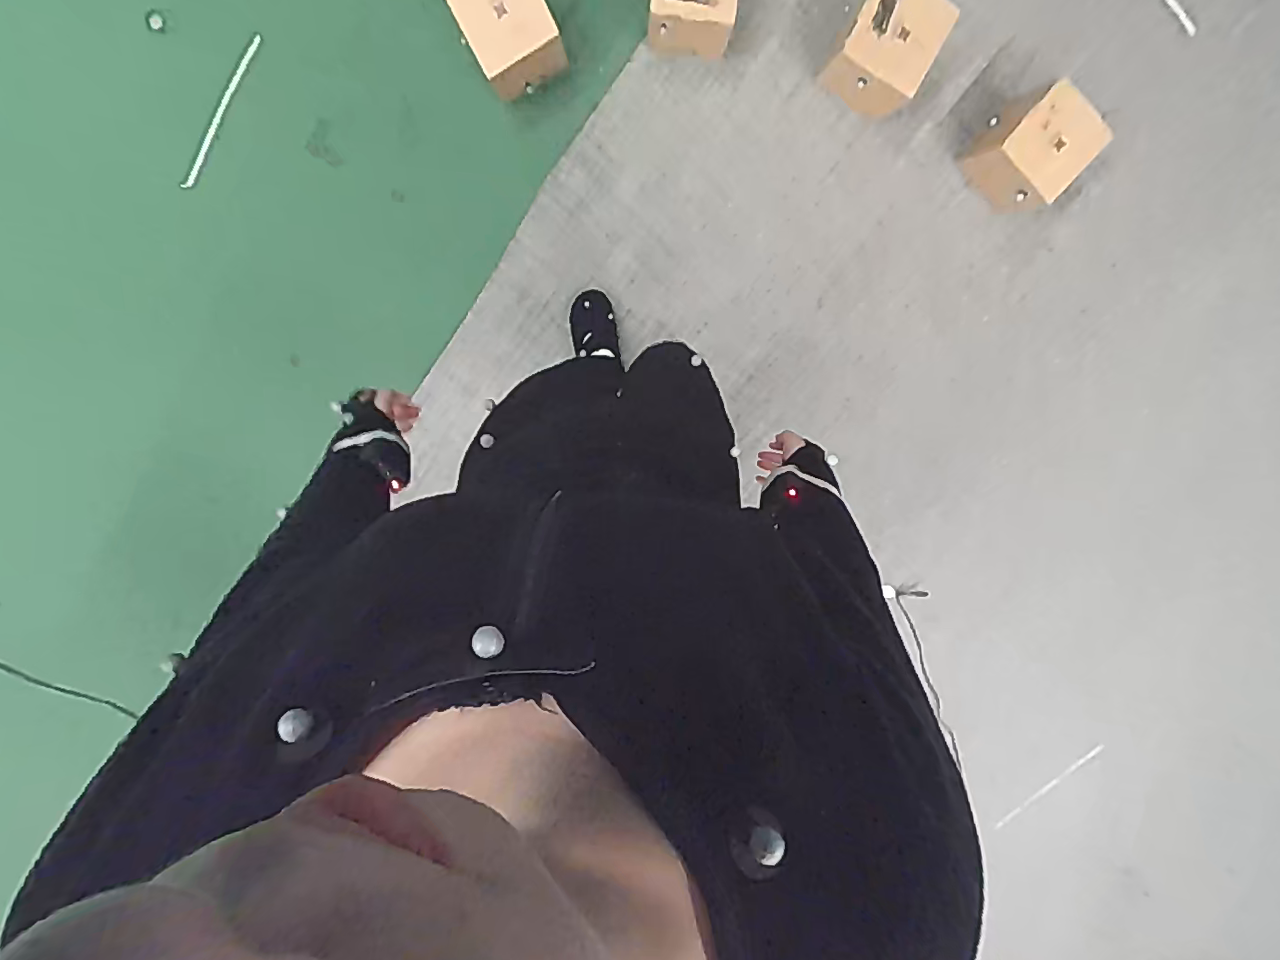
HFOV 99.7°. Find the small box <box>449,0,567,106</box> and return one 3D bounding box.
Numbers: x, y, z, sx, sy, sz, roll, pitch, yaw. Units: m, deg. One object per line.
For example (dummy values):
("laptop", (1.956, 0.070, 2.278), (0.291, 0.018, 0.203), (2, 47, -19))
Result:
("small box", (-0.265, -0.915, 1.102), (0.168, 0.176, 0.179), (-26, 108, 8))

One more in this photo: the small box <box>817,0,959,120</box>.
("small box", (0.501, -0.891, 1.125), (0.179, 0.176, 0.168), (25, 107, -10))

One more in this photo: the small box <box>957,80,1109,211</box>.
("small box", (0.855, -0.721, 1.193), (0.179, 0.176, 0.168), (37, 104, -13))
